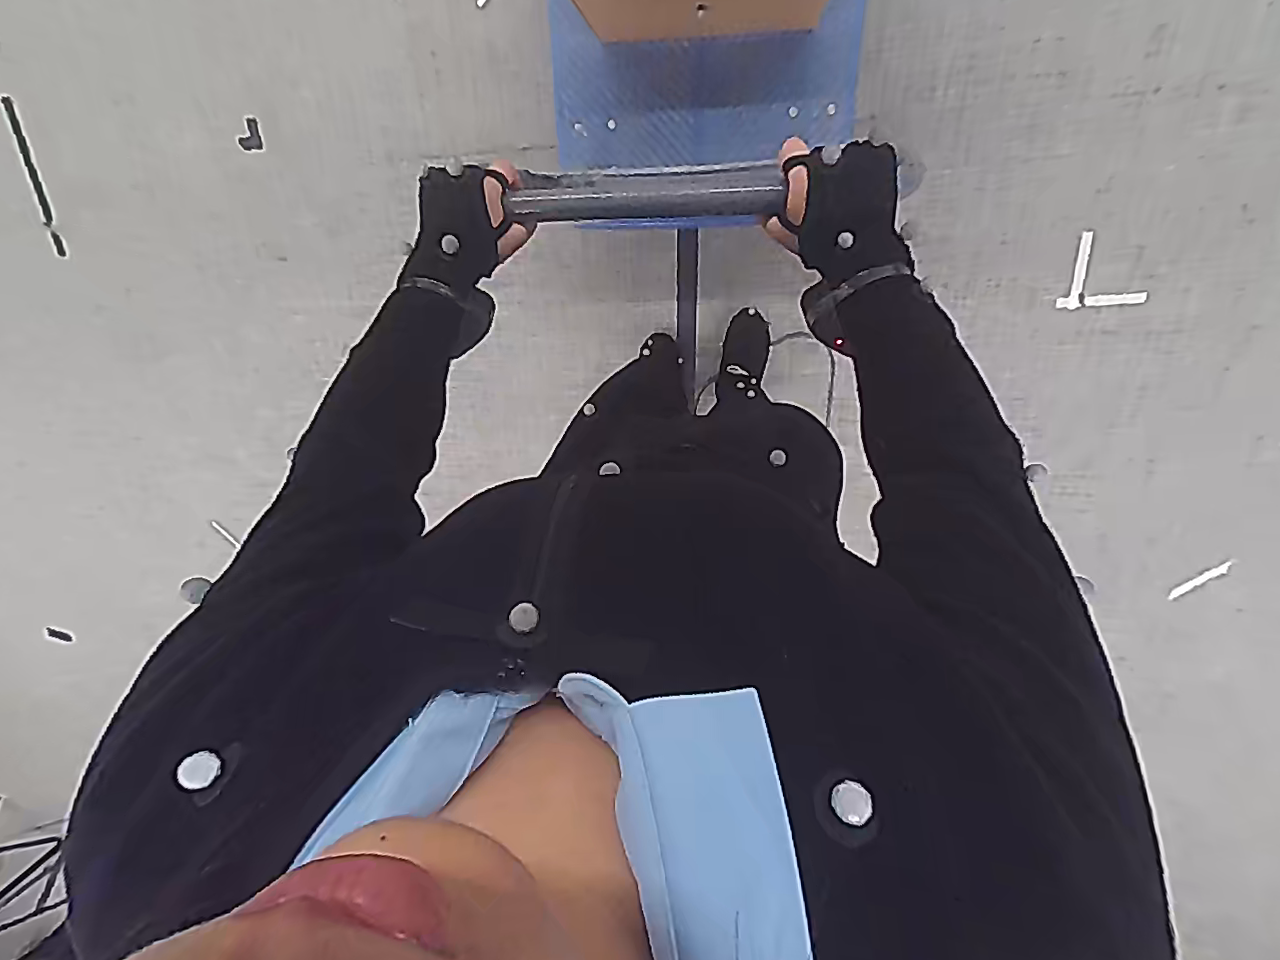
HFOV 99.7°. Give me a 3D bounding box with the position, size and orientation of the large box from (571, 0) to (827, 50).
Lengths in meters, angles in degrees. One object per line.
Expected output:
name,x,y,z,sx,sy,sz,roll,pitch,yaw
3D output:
large box,0.099,-0.913,0.832,0.408,0.320,0.320,3,112,10
